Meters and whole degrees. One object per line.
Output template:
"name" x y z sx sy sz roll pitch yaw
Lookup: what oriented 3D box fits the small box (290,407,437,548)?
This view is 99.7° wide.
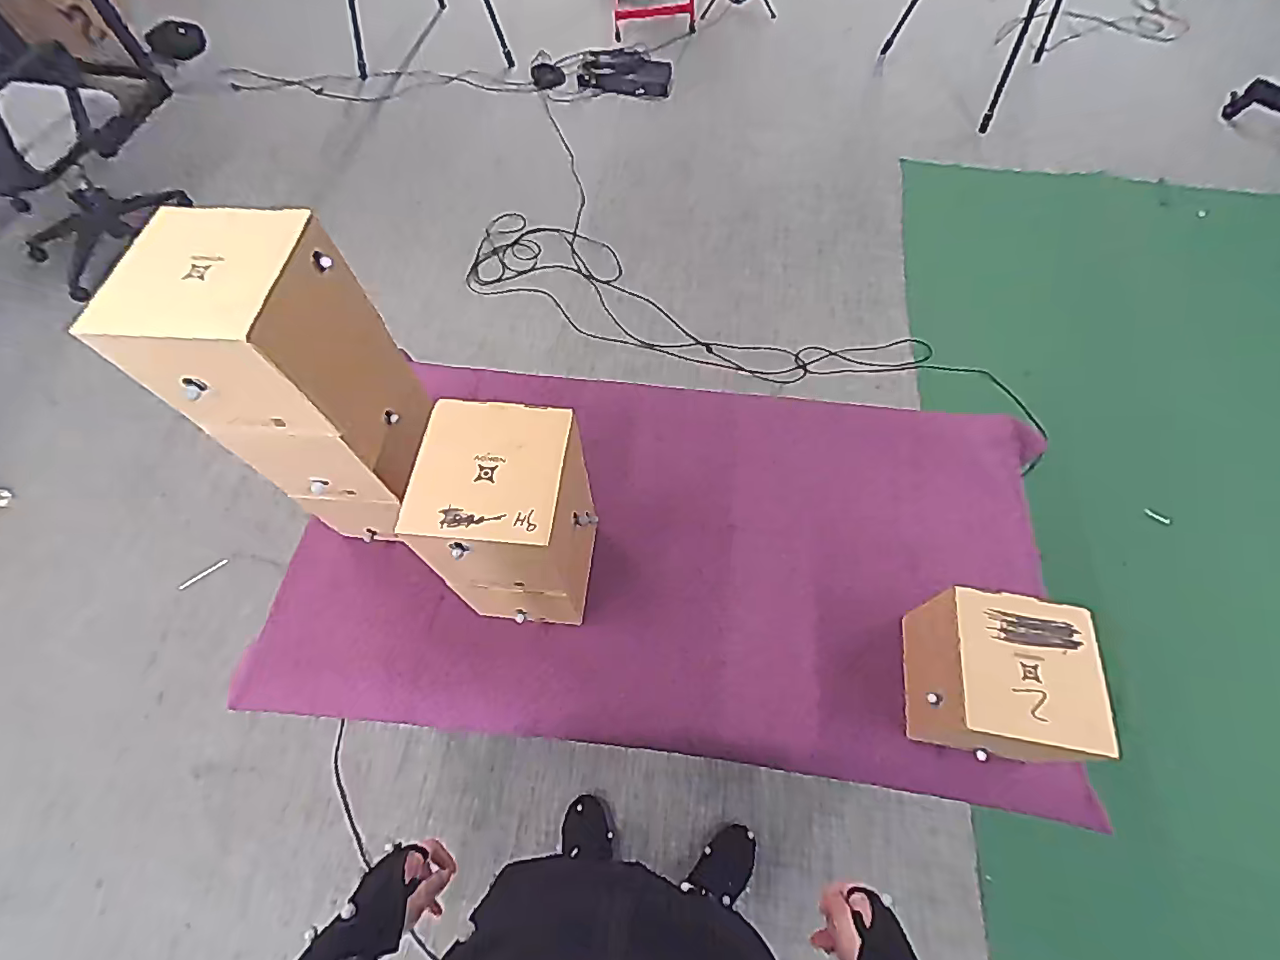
"small box" -0.413 -0.006 0.878 0.168 0.176 0.179 4 63 3

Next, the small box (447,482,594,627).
"small box" -0.165 0.109 0.814 0.168 0.176 0.179 5 62 4

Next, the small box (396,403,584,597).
"small box" -0.166 0.029 0.669 0.168 0.176 0.179 5 61 4

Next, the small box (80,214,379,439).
"small box" -0.416 -0.160 0.590 0.168 0.176 0.179 3 62 3

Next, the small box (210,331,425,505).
"small box" -0.413 -0.084 0.734 0.168 0.176 0.179 3 63 3
